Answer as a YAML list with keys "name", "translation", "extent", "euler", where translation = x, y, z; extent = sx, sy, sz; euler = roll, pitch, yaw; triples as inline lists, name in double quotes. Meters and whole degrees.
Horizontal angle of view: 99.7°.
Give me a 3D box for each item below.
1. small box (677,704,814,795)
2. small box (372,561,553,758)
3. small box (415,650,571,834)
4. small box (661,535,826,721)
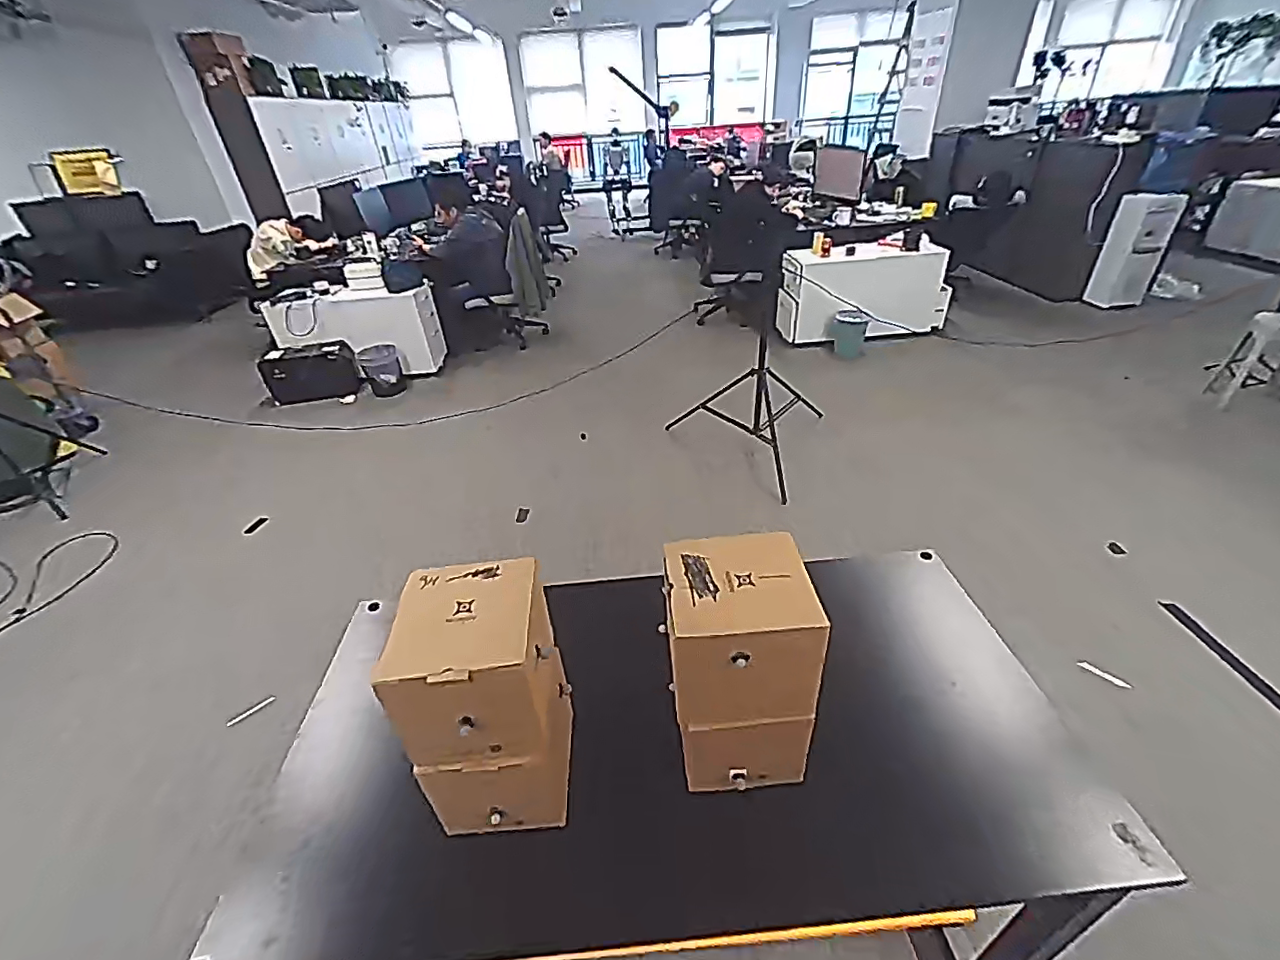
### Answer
- name: "small box"
  translation: [0.140, 0.329, 0.800]
  extent: [0.168, 0.176, 0.179]
  euler: [-7, 35, -1]
- name: "small box"
  translation: [-0.206, 0.230, 0.687]
  extent: [0.168, 0.176, 0.179]
  euler: [-6, 35, -3]
- name: "small box"
  translation: [-0.193, 0.370, 0.771]
  extent: [0.168, 0.176, 0.179]
  euler: [-4, 34, 0]
- name: "small box"
  translation: [0.125, 0.193, 0.707]
  extent: [0.179, 0.176, 0.168]
  euler: [-5, 34, 0]
